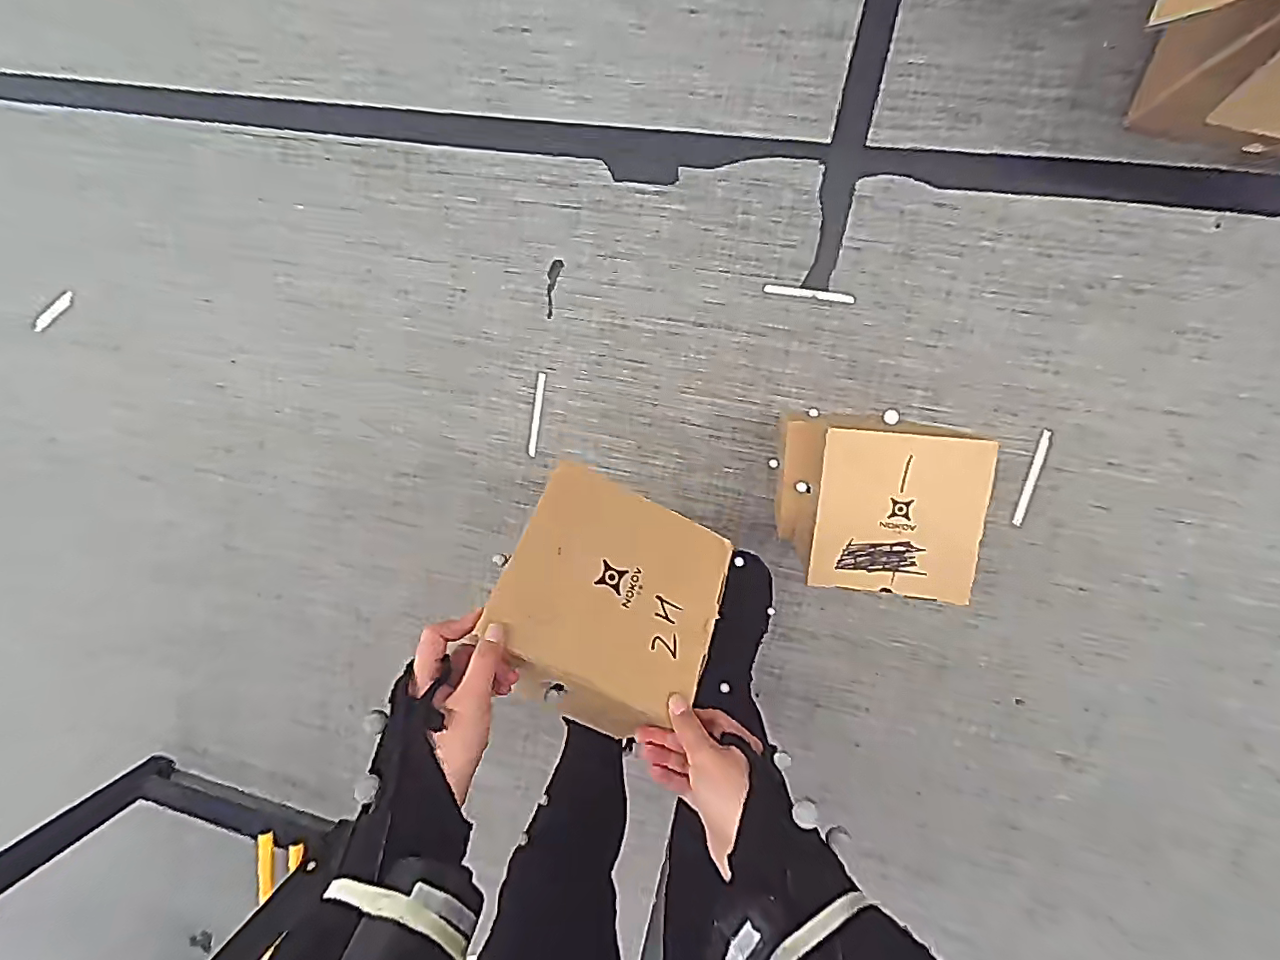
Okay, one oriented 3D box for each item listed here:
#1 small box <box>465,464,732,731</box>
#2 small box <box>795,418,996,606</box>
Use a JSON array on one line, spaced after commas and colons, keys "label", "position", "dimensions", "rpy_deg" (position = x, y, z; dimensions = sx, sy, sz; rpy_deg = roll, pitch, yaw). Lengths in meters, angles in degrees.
[{"label": "small box", "position": [-0.045, 0.121, 0.502], "dimensions": [0.179, 0.168, 0.176], "rpy_deg": [28, 147, -8]}, {"label": "small box", "position": [0.282, 0.025, 0.641], "dimensions": [0.168, 0.176, 0.179], "rpy_deg": [6, 101, 10]}]
